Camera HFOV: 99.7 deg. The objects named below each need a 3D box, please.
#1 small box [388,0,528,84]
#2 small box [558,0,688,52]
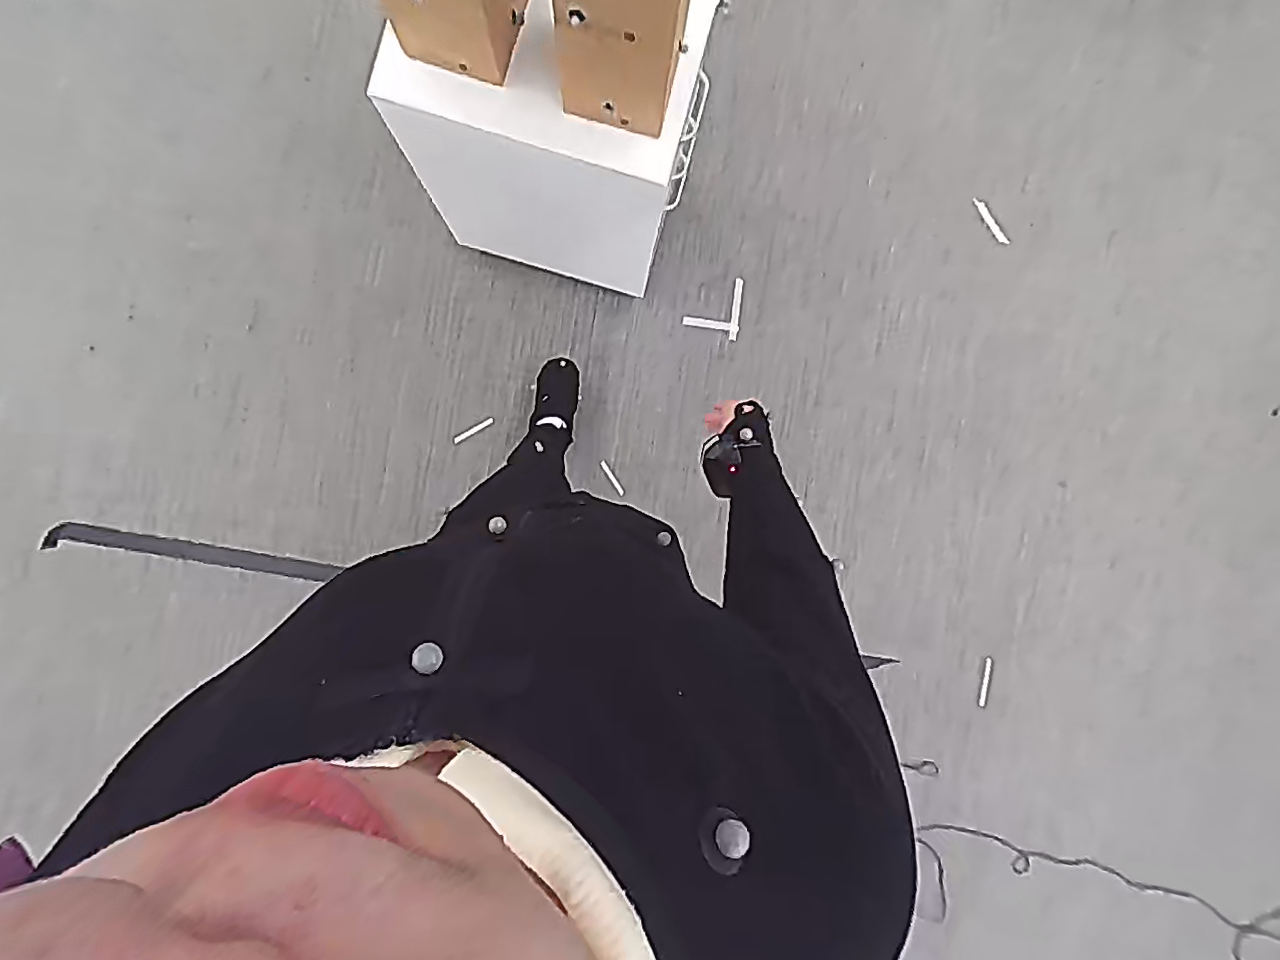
[{"bbox_3d":[-0.270,-0.746,0.795,0.168,0.176,0.179,16,88,-3],"label":"small box"},{"bbox_3d":[-0.009,-0.673,0.649,0.168,0.176,0.179,14,89,-3],"label":"small box"}]
